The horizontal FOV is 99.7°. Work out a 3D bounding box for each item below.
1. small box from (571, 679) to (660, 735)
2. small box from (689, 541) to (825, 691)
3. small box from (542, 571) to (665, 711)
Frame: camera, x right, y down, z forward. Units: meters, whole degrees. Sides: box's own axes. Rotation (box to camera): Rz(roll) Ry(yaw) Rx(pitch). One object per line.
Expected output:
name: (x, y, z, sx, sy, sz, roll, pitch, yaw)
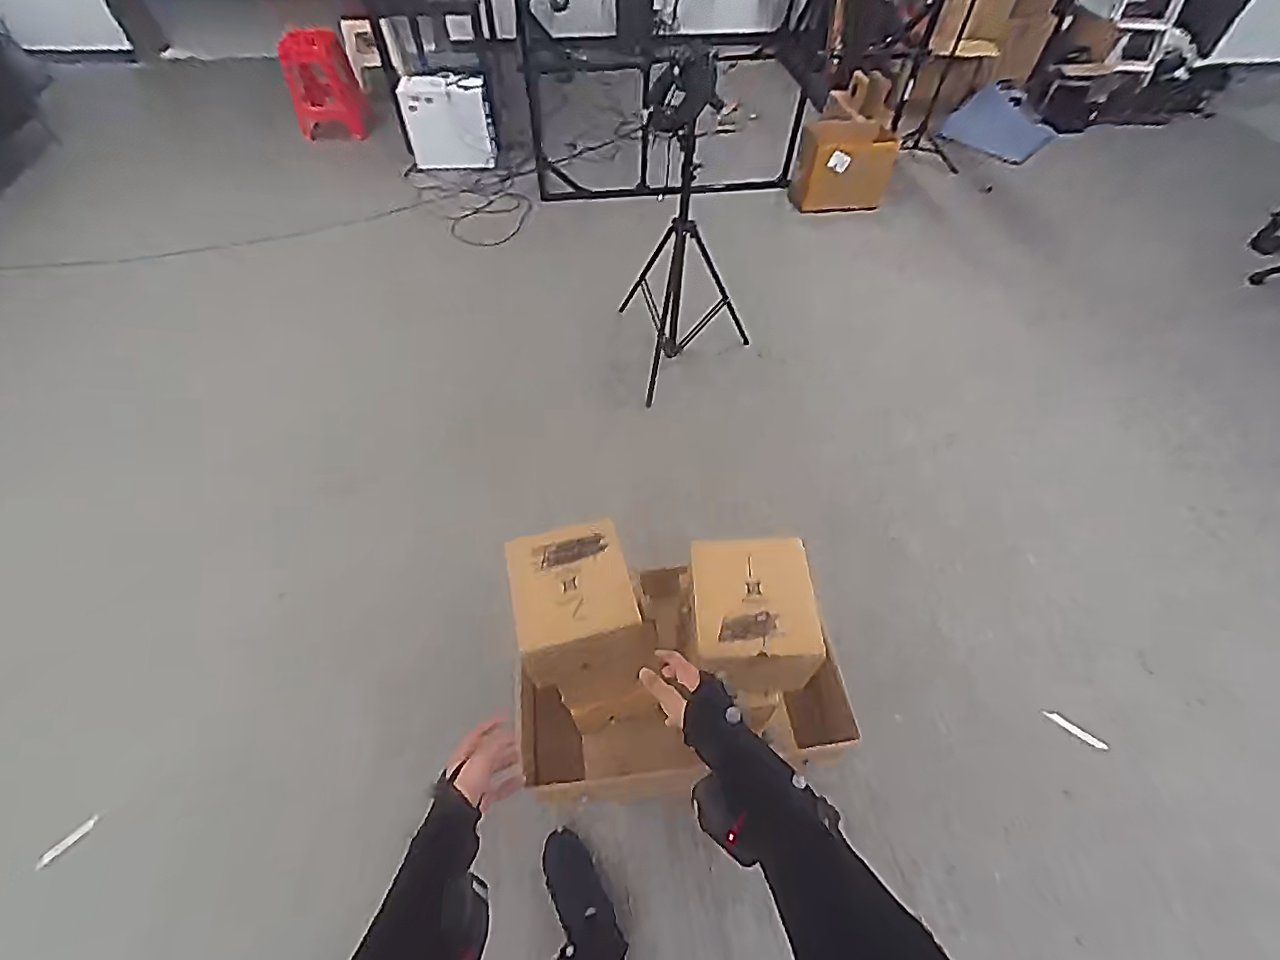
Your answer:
small box: (-0.065, 0.385, 1.080, 0.168, 0.176, 0.179, -13, 56, -10)
small box: (0.160, 0.209, 0.804, 0.168, 0.176, 0.179, -2, 54, 1)
small box: (-0.067, 0.285, 0.951, 0.179, 0.176, 0.168, -12, 55, -10)
